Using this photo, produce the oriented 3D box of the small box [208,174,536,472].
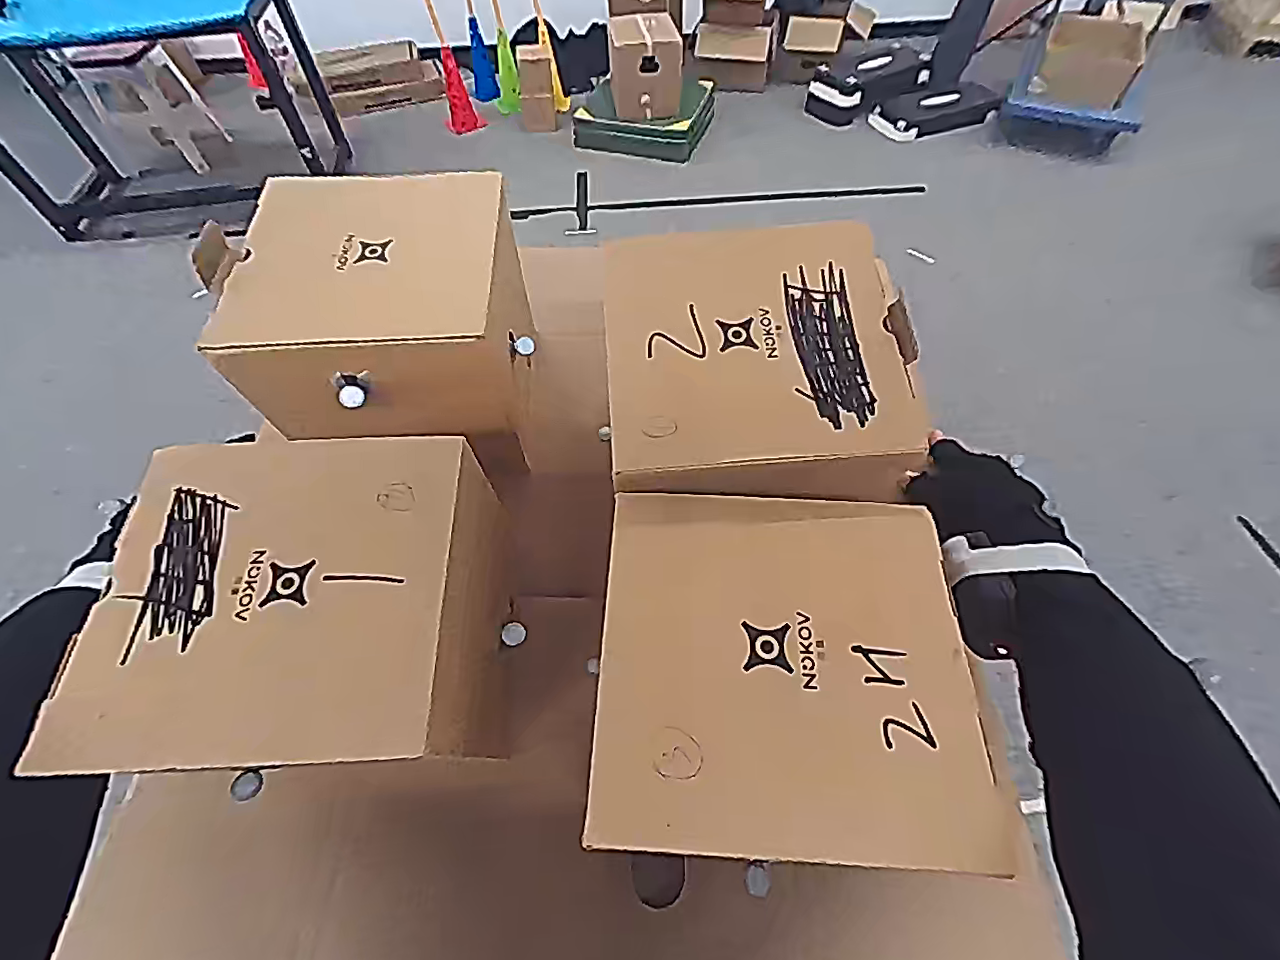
[{"bbox_3d":[-0.185,-0.118,0.444,0.179,0.176,0.168,-3,61,-1],"label":"small box"}]
